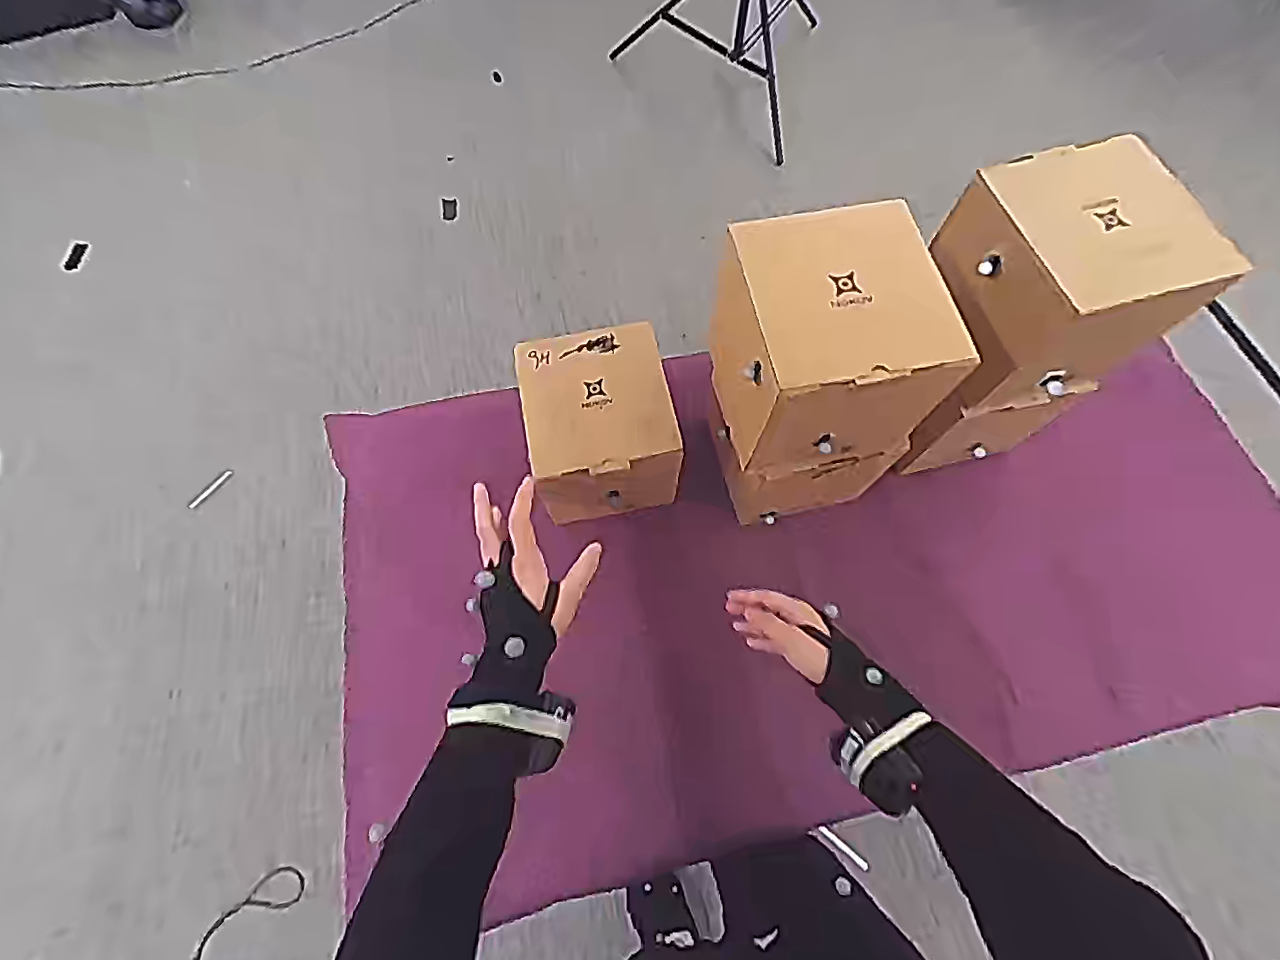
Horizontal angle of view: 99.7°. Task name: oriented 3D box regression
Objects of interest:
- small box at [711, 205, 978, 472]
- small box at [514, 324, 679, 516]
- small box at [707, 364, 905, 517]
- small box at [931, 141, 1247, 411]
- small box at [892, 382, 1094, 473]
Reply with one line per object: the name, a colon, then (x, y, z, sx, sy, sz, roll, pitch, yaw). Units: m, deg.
small box: (0.173, -0.128, 0.527, 0.168, 0.176, 0.179, -10, 69, -4)
small box: (-0.050, -0.062, 0.677, 0.168, 0.176, 0.179, -11, 70, -4)
small box: (0.190, -0.064, 0.677, 0.168, 0.176, 0.179, -12, 68, -4)
small box: (0.413, -0.198, 0.553, 0.168, 0.176, 0.179, -15, 69, -4)
small box: (0.410, -0.131, 0.701, 0.168, 0.176, 0.179, -12, 69, -3)
